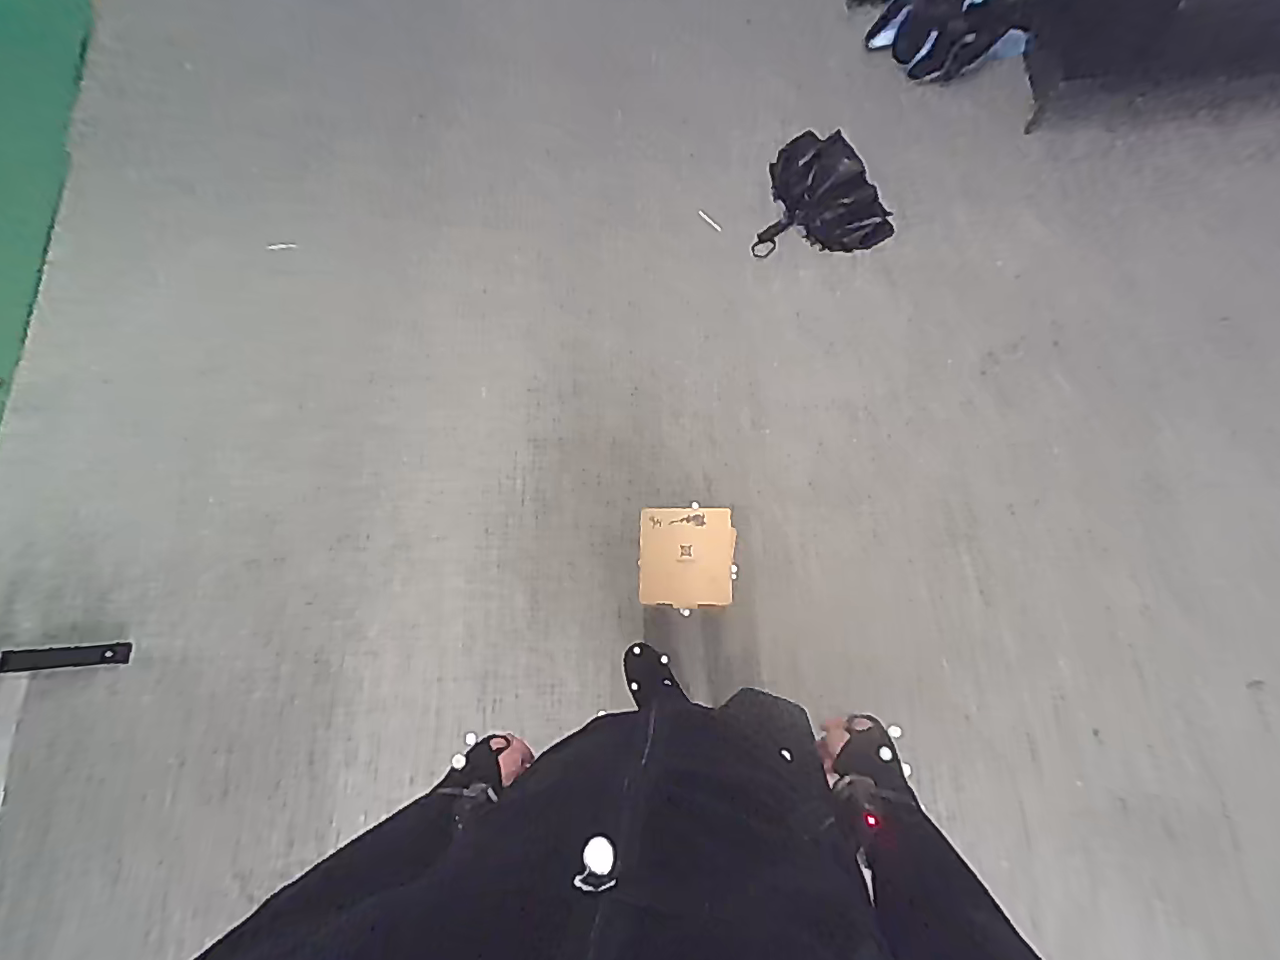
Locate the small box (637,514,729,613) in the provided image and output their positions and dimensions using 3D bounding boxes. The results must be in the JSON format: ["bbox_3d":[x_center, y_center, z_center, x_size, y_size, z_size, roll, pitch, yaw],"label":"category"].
[{"bbox_3d":[0.087,0.166,1.053,0.168,0.176,0.179,1,76,6],"label":"small box"}]
